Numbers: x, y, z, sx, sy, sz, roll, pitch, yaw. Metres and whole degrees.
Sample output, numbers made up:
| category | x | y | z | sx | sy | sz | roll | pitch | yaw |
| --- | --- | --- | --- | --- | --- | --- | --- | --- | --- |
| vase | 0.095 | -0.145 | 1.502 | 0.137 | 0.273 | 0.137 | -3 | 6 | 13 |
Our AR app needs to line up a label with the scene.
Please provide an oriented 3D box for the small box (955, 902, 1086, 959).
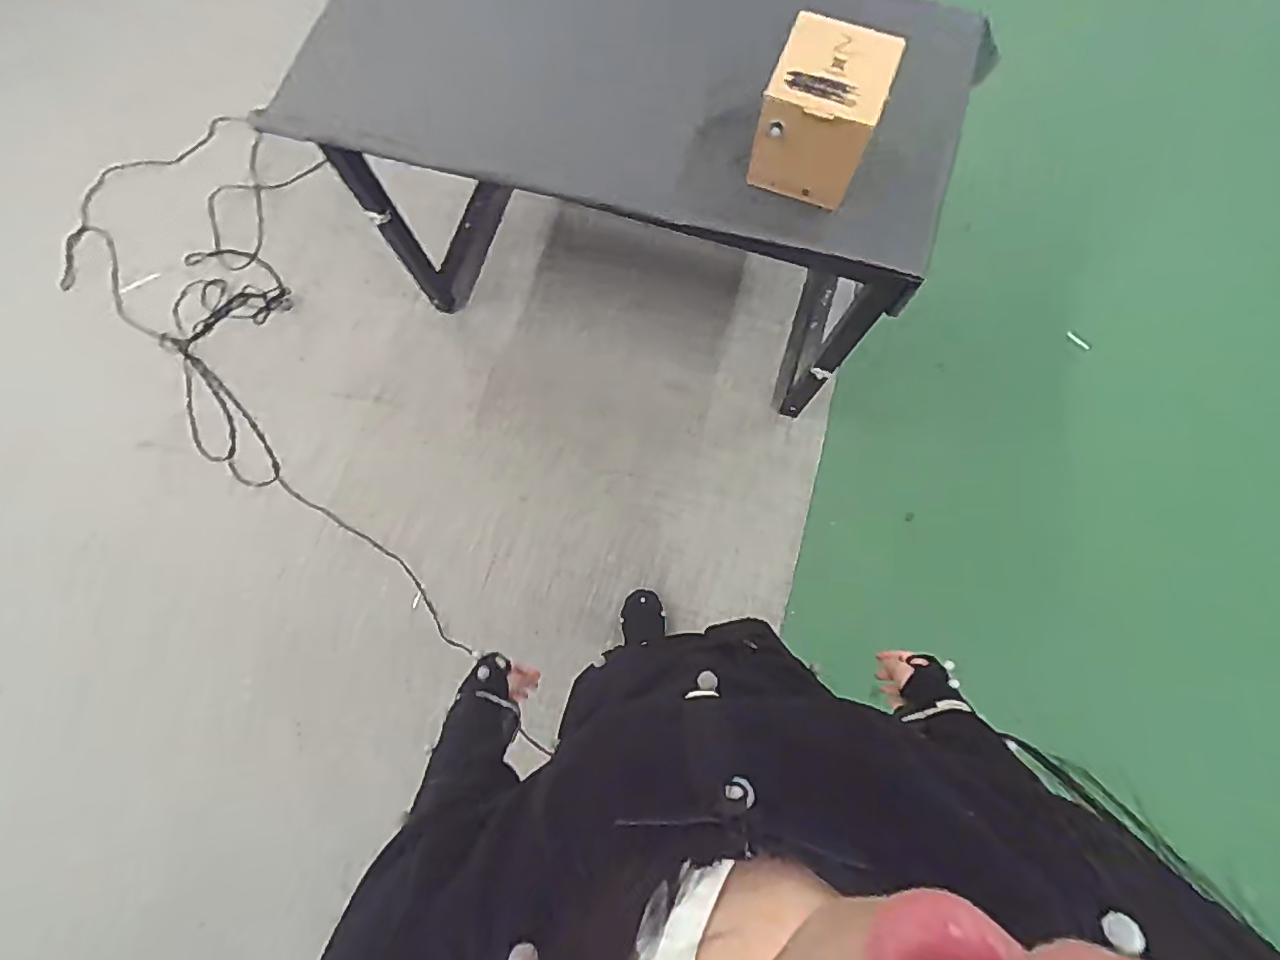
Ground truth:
| category | x | y | z | sx | sy | sz | roll | pitch | yaw |
| --- | --- | --- | --- | --- | --- | --- | --- | --- | --- |
| small box | 0.775 | 0.998 | 1.087 | 0.179 | 0.176 | 0.168 | 15 | 77 | 2 |
